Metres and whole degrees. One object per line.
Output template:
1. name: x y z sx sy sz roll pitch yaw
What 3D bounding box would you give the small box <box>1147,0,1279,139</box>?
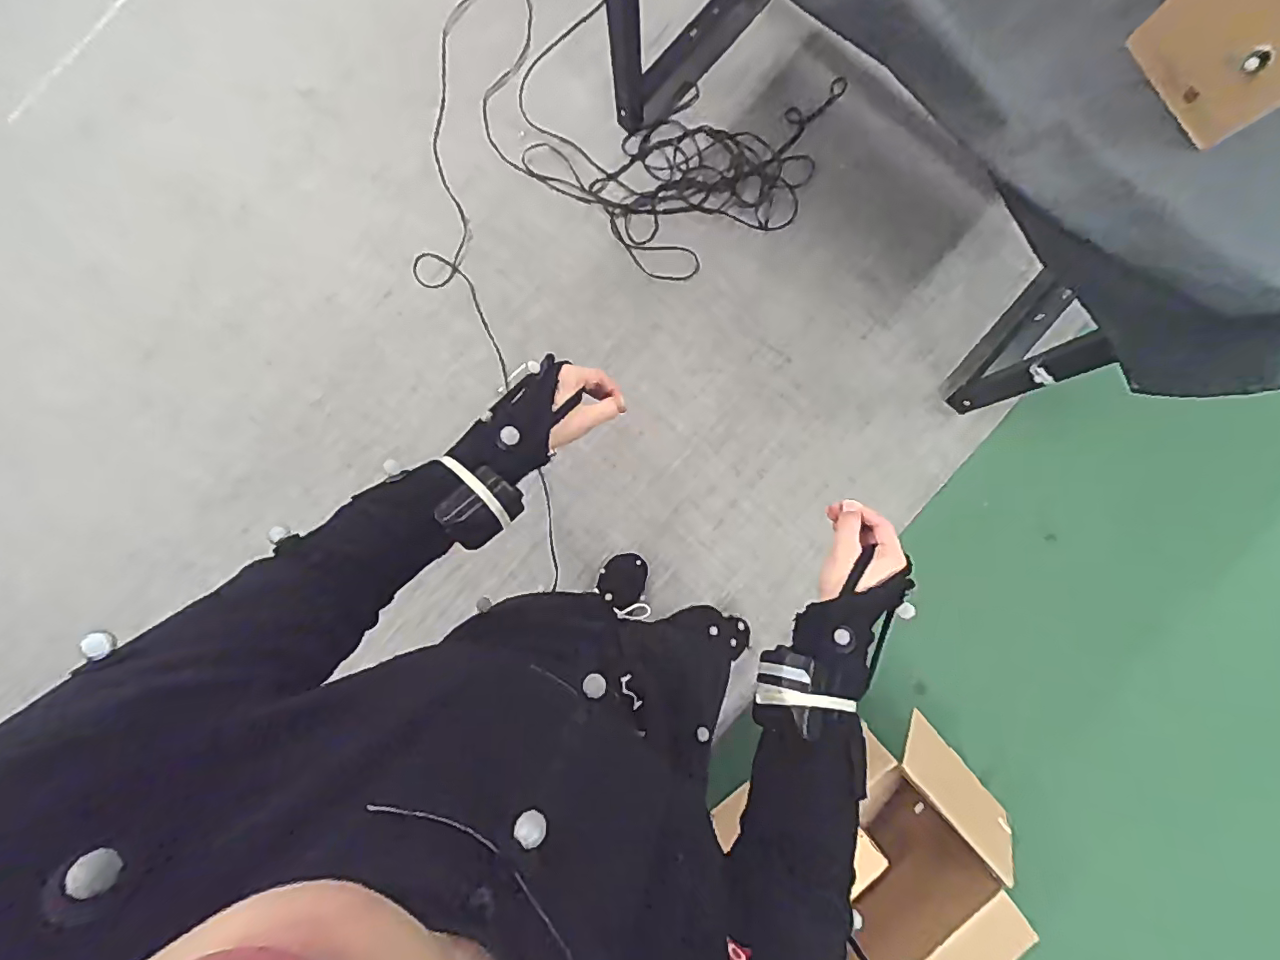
1. small box: 0.702 -0.511 0.569 0.179 0.176 0.168 -30 86 -2
